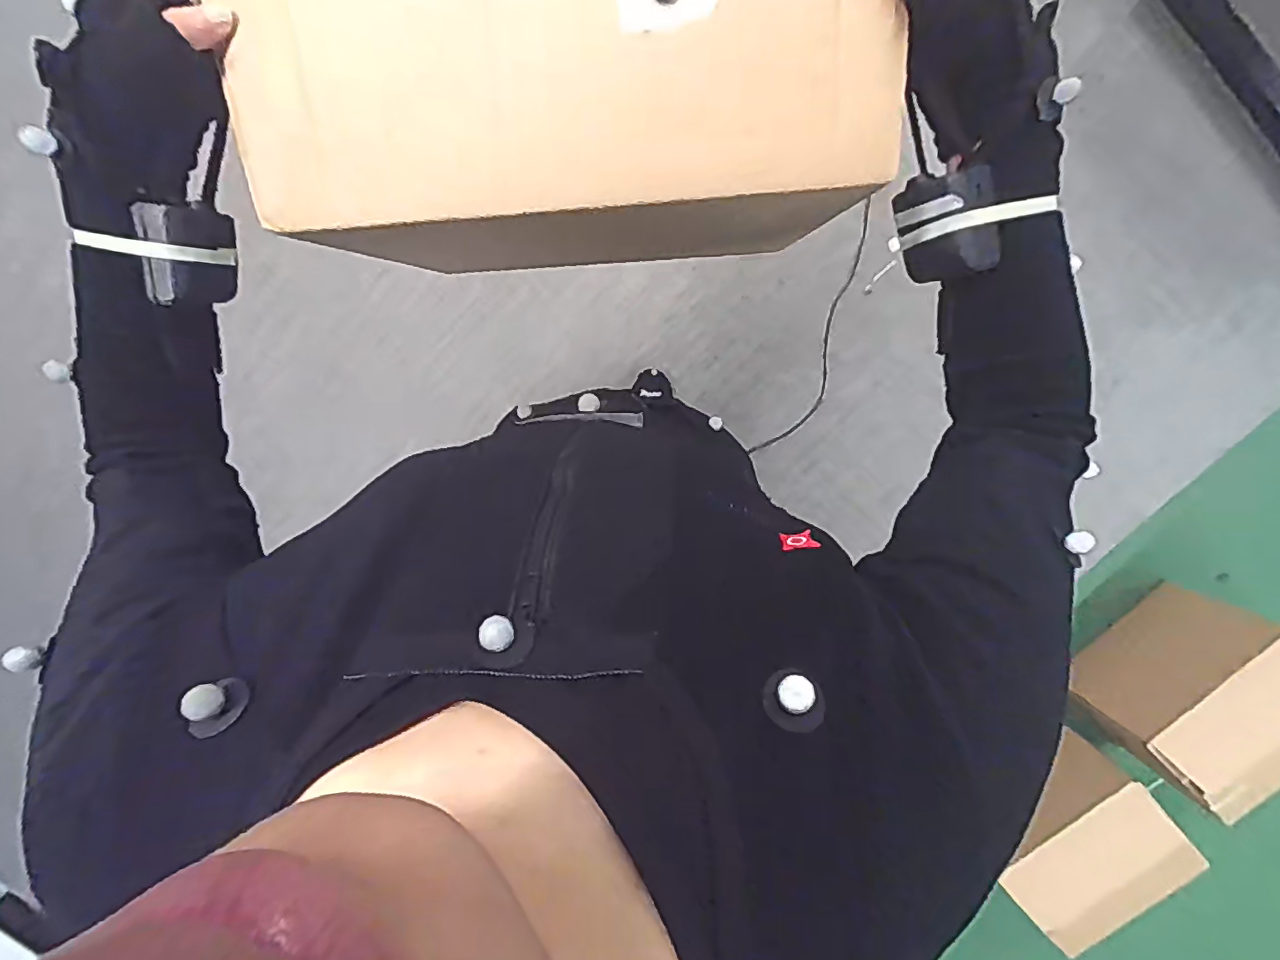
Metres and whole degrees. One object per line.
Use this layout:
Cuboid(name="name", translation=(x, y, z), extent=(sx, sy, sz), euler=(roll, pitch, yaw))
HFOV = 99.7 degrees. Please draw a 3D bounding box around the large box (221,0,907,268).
Cuboid(name="large box", translation=(-0.048, -0.369, 0.441), extent=(0.408, 0.320, 0.320), euler=(-4, 107, 2))
